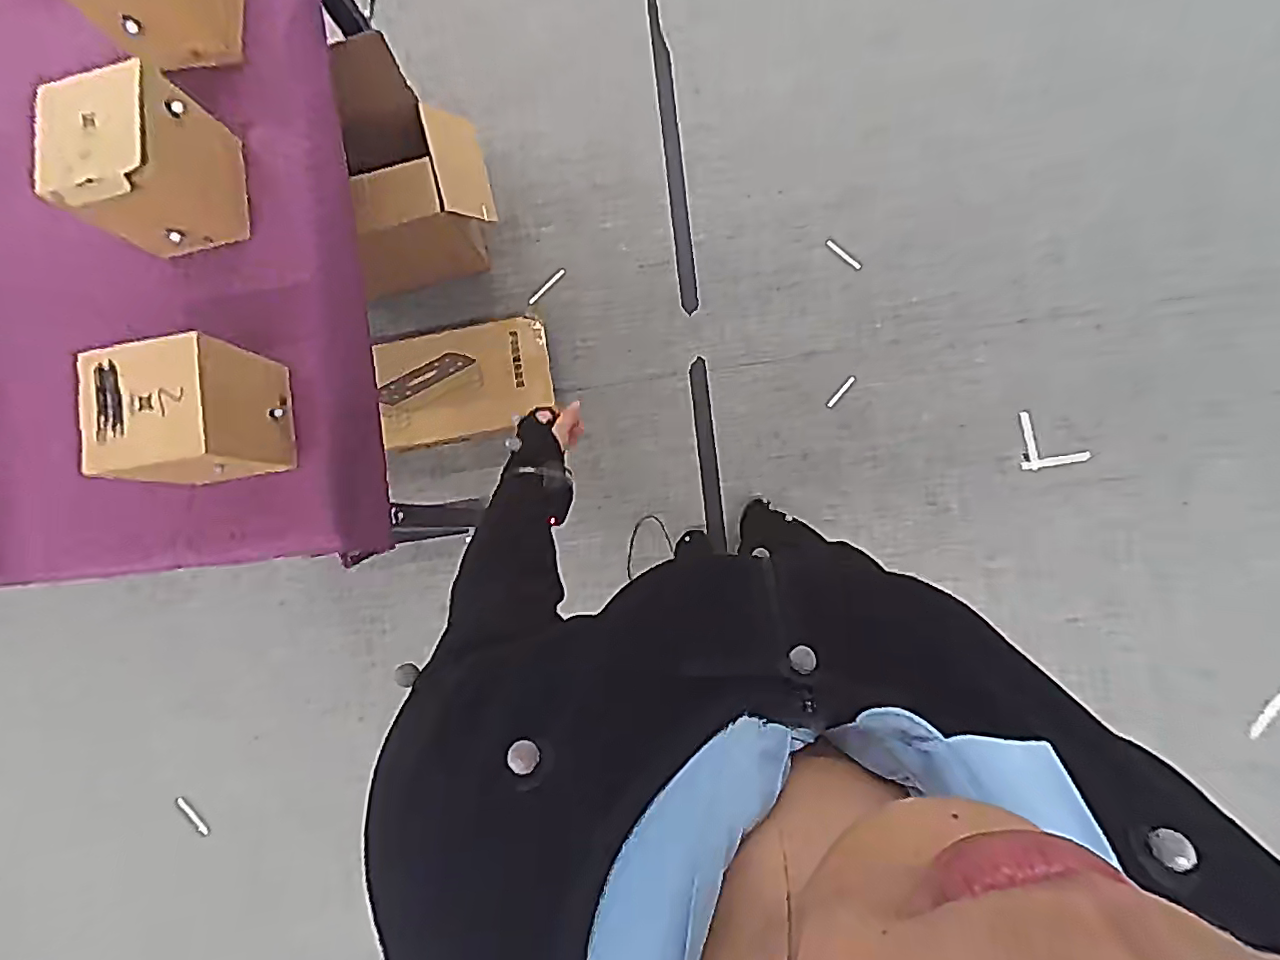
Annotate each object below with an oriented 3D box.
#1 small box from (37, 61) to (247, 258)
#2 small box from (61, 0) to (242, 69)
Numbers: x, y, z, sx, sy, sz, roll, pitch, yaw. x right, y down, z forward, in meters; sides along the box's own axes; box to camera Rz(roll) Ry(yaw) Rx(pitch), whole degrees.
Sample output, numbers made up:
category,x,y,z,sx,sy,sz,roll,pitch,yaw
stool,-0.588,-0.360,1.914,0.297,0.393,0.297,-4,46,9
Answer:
category,x,y,z,sx,sy,sz,roll,pitch,yaw
small box,-0.737,-0.469,0.816,0.168,0.176,0.179,-10,85,7
small box,-0.763,-0.785,0.846,0.168,0.176,0.179,-2,85,5
